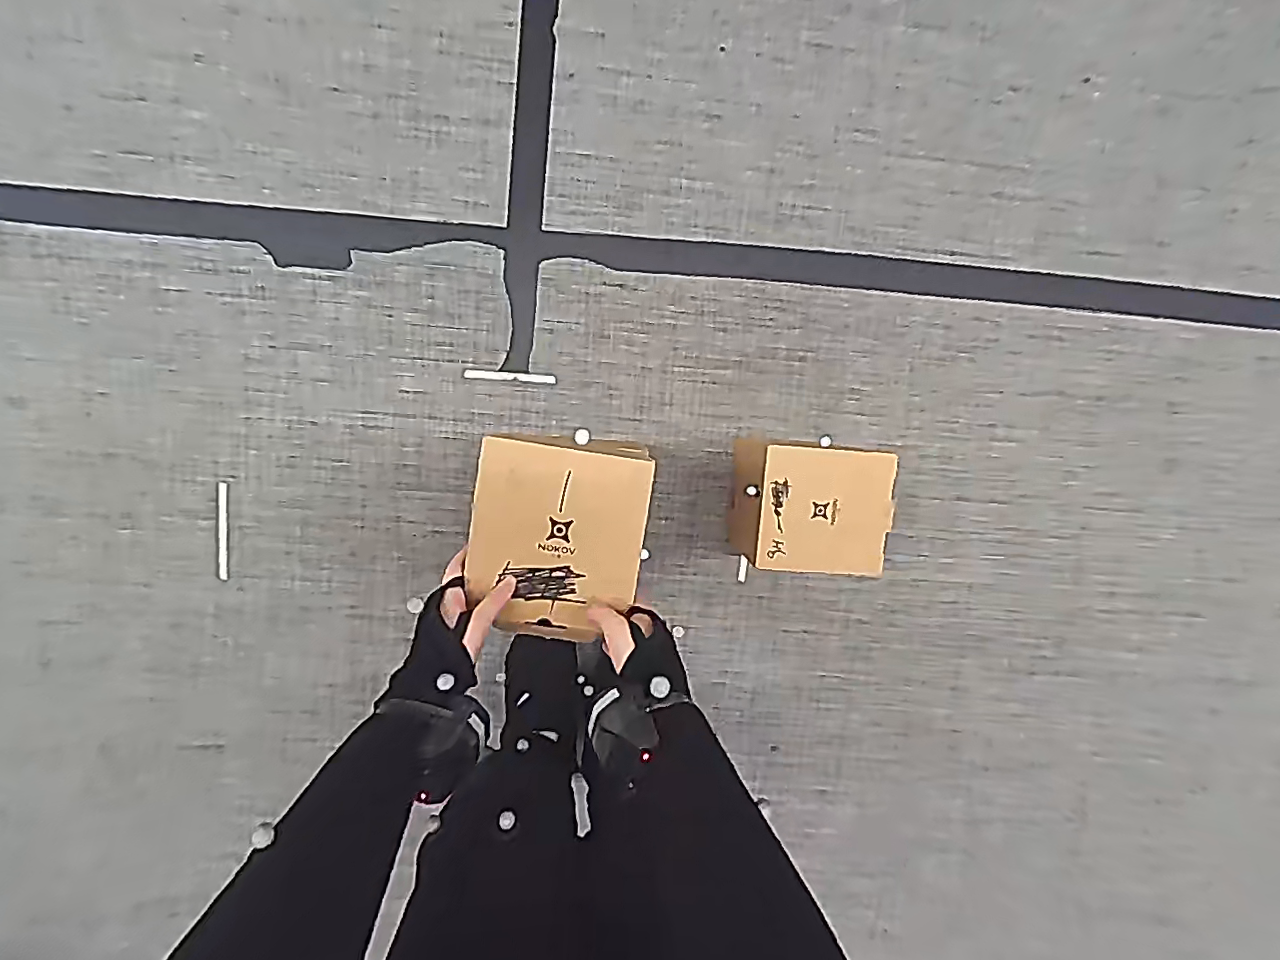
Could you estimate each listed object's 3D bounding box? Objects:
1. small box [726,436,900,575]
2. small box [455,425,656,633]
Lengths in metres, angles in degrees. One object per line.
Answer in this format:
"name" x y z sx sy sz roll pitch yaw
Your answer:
"small box" 0.234 0.027 0.773 0.179 0.176 0.168 4 97 -5
"small box" -0.085 0.042 0.586 0.168 0.176 0.179 10 94 -6
